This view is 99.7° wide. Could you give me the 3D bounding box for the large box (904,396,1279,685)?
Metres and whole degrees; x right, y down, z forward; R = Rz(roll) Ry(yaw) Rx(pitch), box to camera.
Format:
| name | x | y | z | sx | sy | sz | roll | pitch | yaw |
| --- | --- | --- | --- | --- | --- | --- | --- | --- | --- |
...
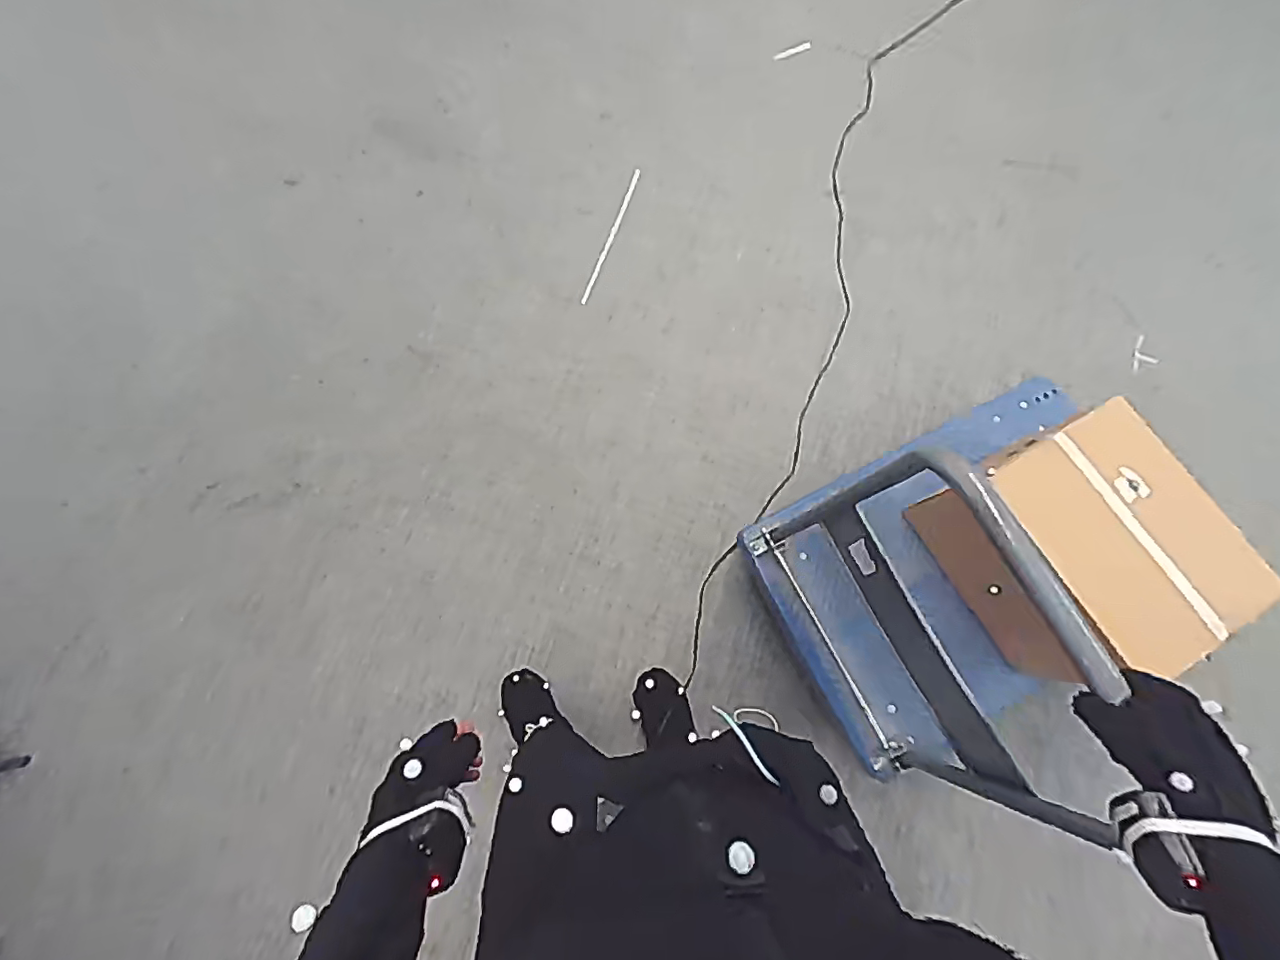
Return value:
| name | x | y | z | sx | sy | sz | roll | pitch | yaw |
| --- | --- | --- | --- | --- | --- | --- | --- | --- | --- |
| large box | 0.814 | 0.123 | 1.046 | 0.320 | 0.320 | 0.408 | -29 | 77 | -8 |
